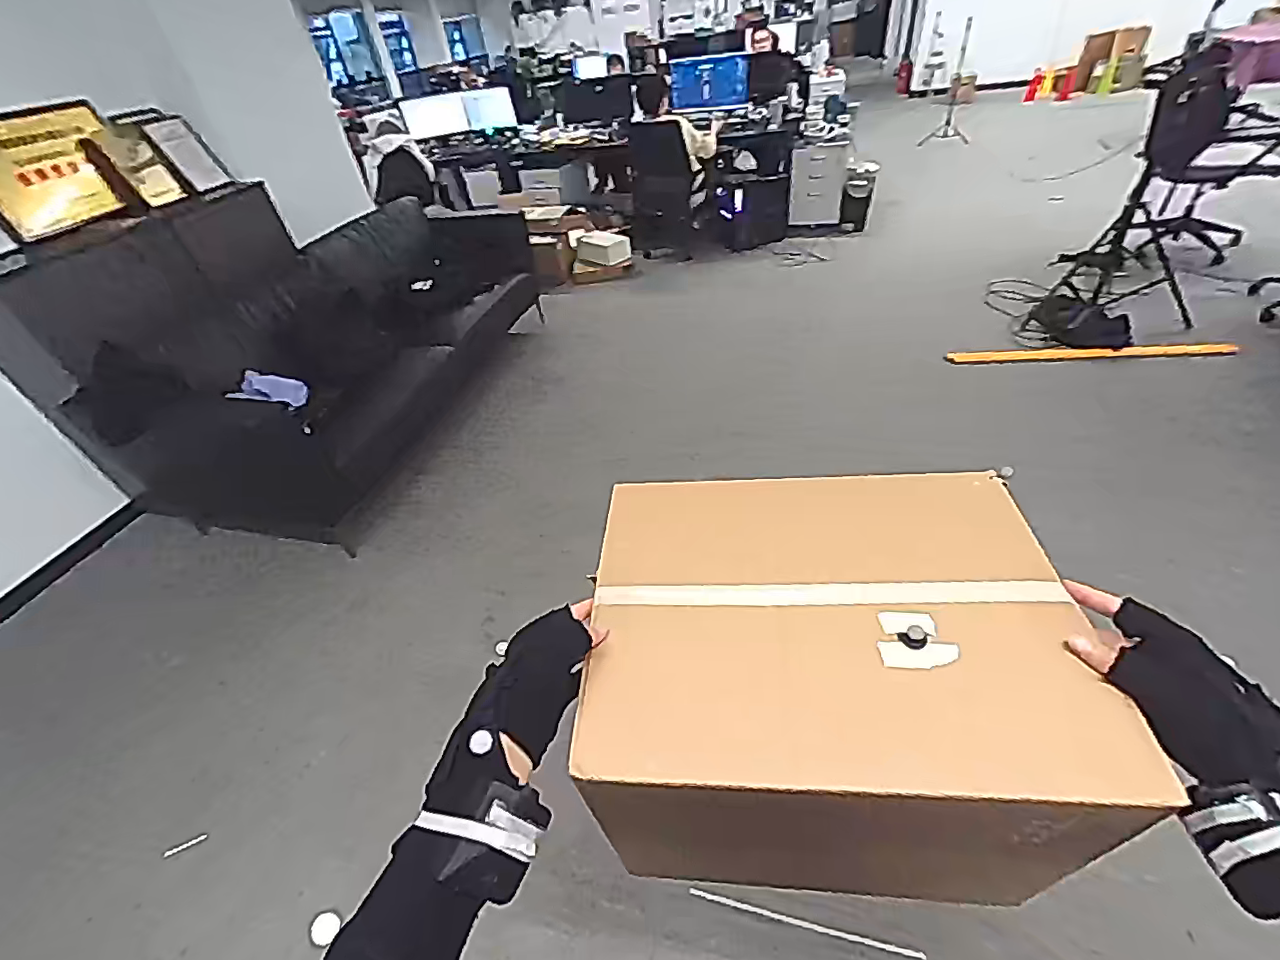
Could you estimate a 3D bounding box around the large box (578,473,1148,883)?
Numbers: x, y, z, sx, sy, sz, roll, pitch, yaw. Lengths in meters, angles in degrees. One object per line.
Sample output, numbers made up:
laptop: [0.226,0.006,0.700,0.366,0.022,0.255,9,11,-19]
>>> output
large box: [0.173,0.216,0.593,0.408,0.320,0.320,-3,44,8]
